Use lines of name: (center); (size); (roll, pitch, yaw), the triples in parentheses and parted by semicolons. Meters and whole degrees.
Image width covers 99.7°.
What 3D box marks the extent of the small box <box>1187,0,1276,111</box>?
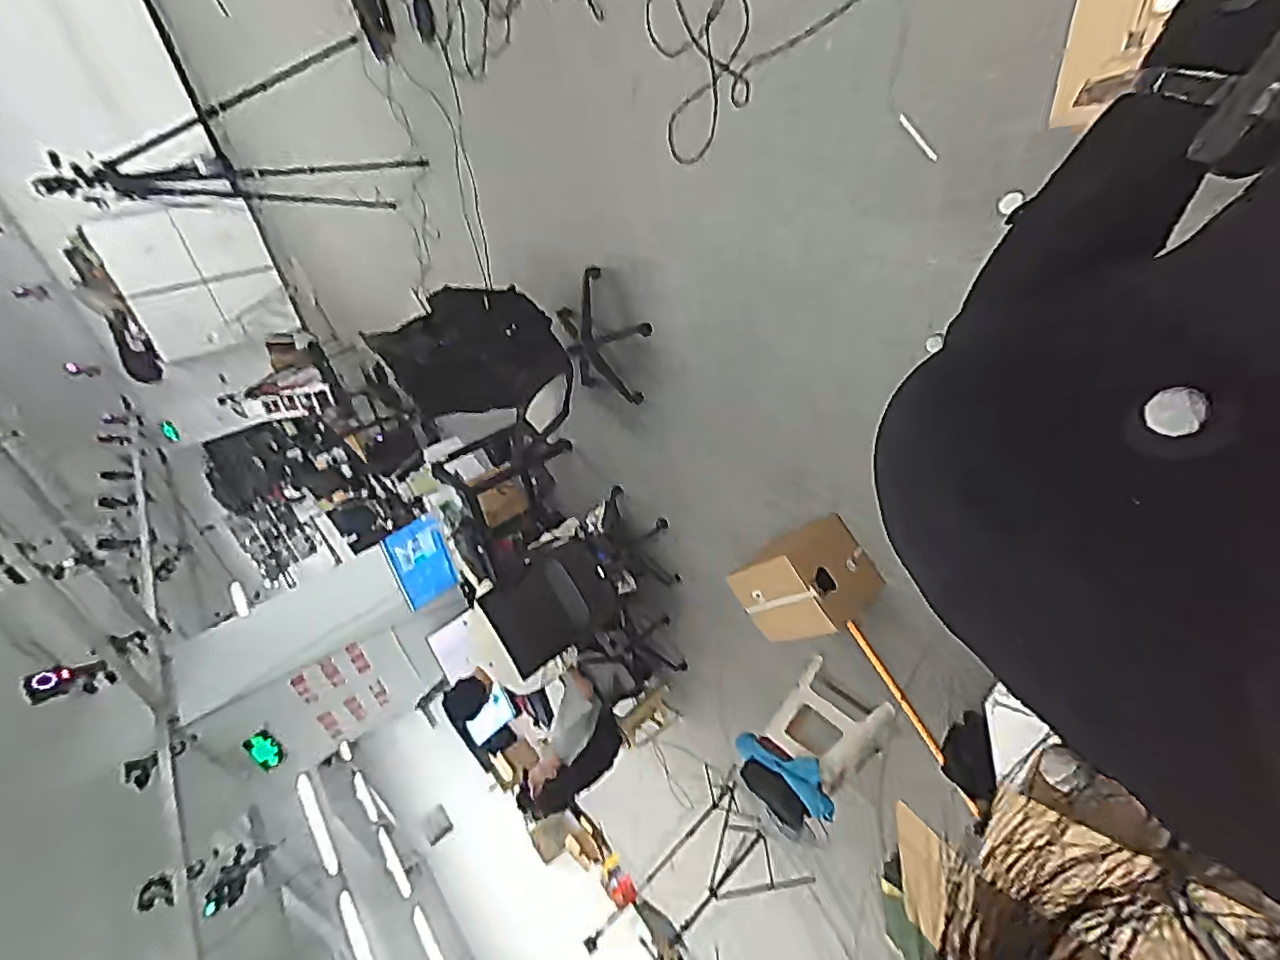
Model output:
small box: (0.891, -0.707, 0.884); (0.168, 0.176, 0.179); (25, 135, 44)

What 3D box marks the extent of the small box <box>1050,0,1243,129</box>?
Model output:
small box: (0.758, -0.645, 0.809); (0.168, 0.176, 0.179); (25, 134, 43)
